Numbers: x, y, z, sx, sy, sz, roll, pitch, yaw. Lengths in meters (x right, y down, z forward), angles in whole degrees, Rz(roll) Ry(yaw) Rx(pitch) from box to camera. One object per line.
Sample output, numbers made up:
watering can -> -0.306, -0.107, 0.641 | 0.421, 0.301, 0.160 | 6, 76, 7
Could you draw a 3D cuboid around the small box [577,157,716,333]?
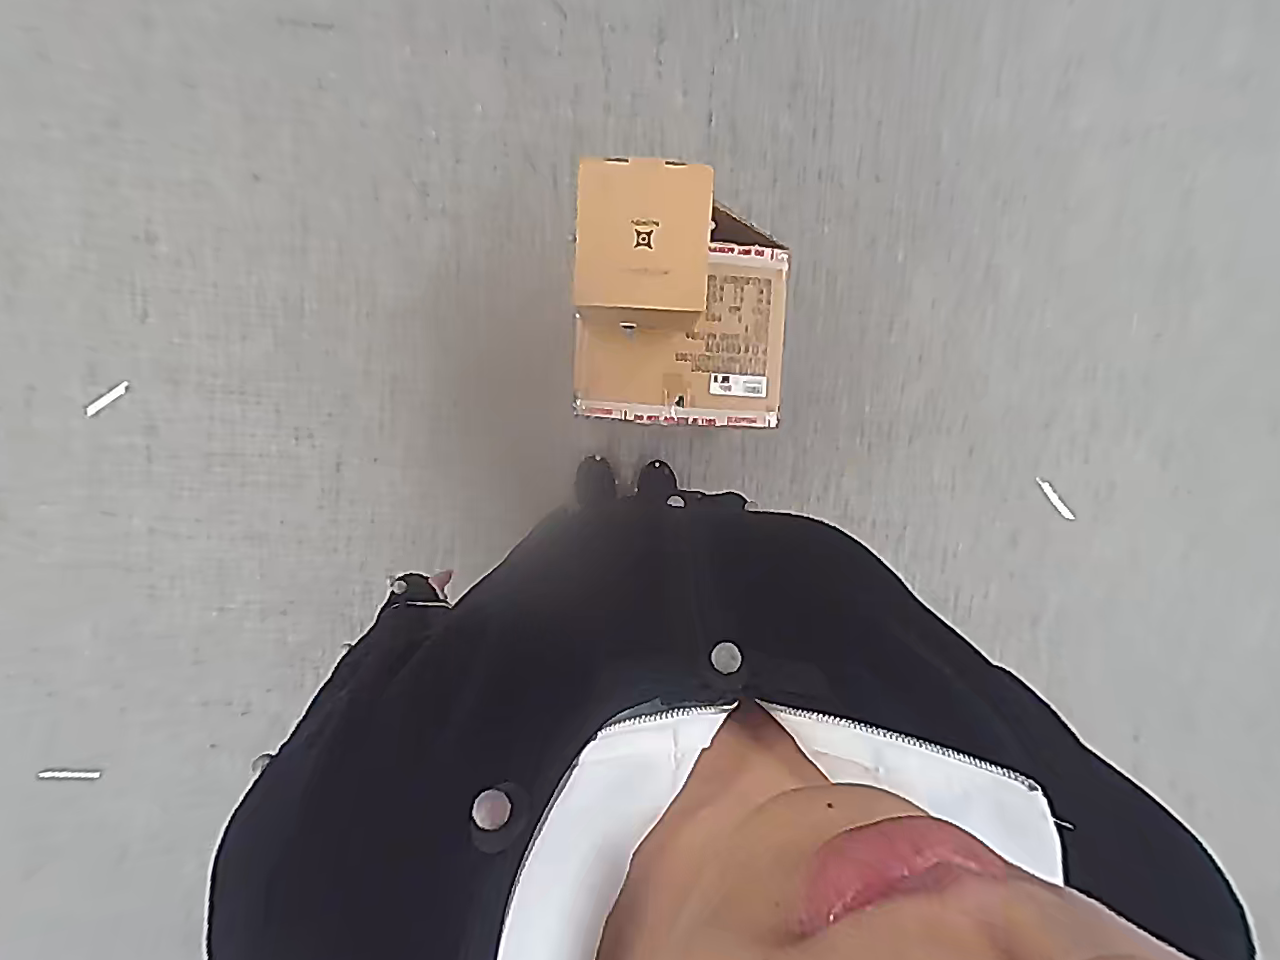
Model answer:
small box -> 0.004, -0.307, 0.738 | 0.168, 0.176, 0.179 | 2, 97, -1
